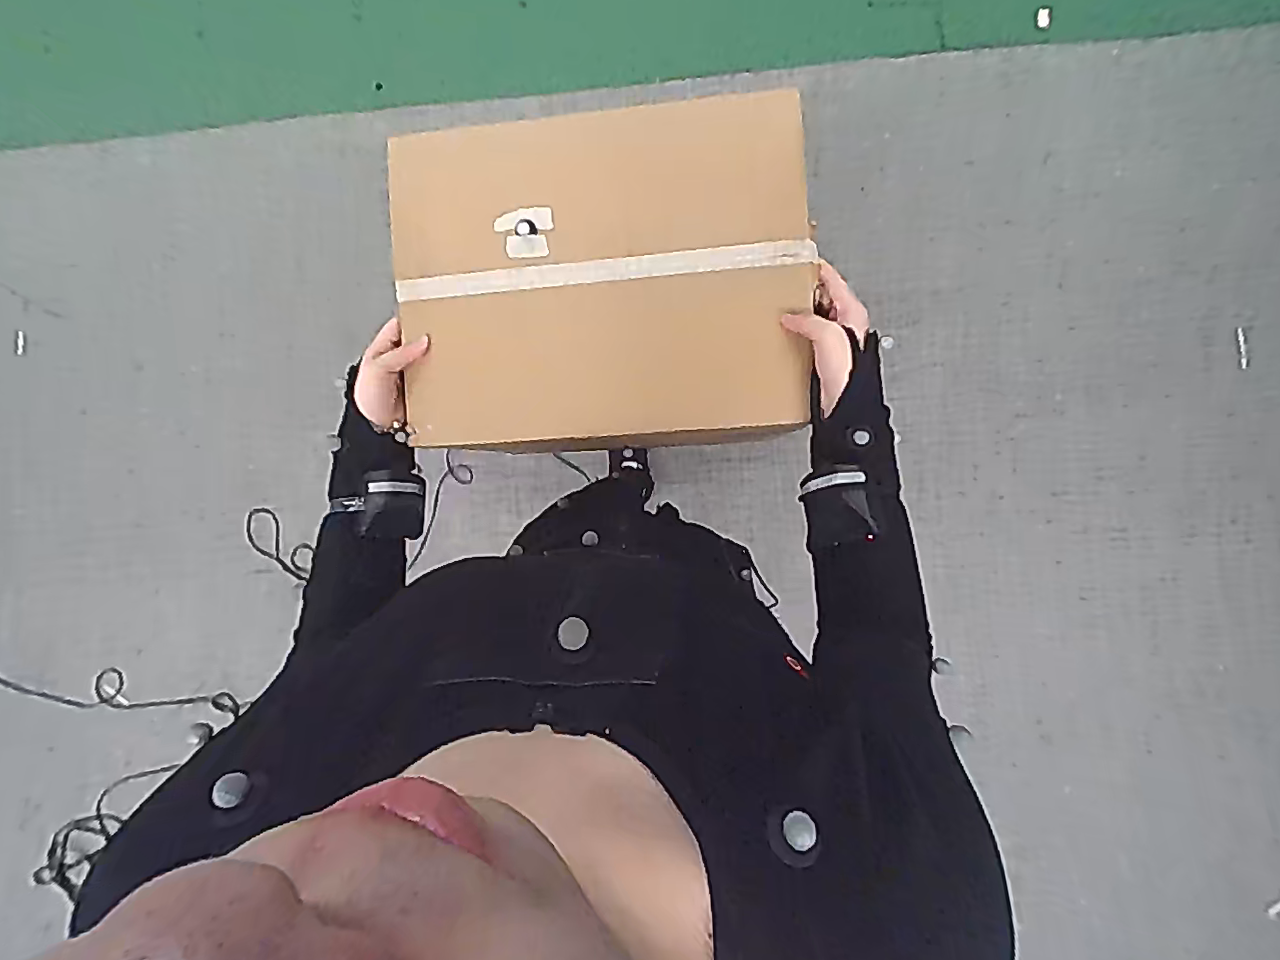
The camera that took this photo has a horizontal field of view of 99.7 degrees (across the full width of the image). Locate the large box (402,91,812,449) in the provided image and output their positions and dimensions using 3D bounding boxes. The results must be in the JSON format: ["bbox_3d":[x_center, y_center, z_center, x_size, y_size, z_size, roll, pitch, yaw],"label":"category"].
[{"bbox_3d":[-0.022,-0.208,0.687,0.408,0.320,0.320,-4,90,7],"label":"large box"}]
